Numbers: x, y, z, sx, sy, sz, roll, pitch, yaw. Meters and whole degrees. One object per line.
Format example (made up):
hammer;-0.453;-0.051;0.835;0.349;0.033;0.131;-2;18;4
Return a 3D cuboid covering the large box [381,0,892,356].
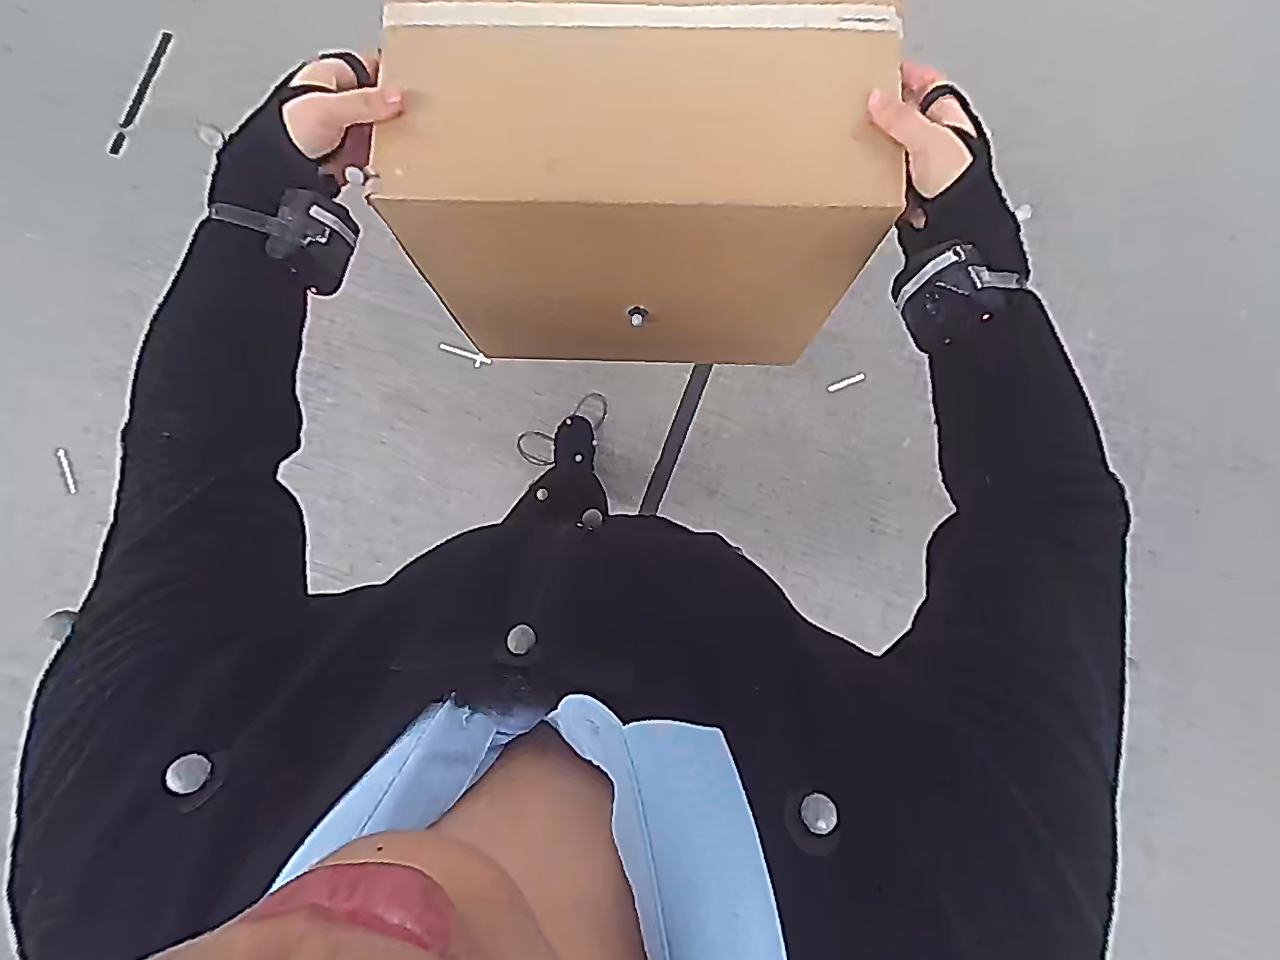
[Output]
large box;0.001;-0.337;0.588;0.408;0.320;0.320;1;79;2
